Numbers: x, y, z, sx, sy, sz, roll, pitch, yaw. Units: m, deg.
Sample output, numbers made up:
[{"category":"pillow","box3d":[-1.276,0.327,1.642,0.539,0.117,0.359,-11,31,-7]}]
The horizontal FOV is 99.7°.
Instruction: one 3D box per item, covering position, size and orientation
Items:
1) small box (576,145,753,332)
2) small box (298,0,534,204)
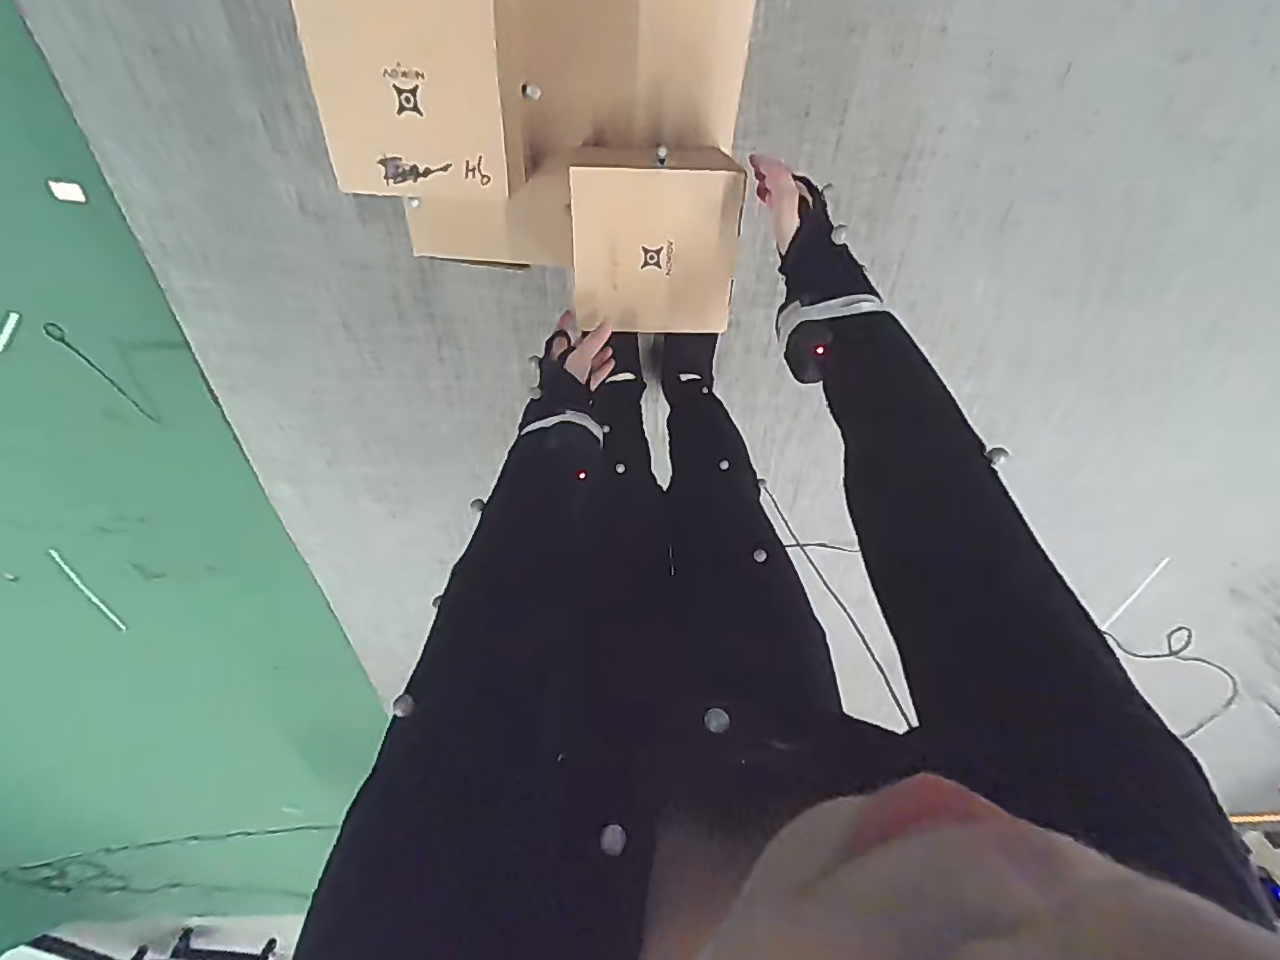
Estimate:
[{"category":"small box","box3d":[0.017,-0.284,0.630,0.179,0.176,0.168,0,127,-3]},{"category":"small box","box3d":[-0.202,-0.389,0.538,0.168,0.176,0.179,2,127,-3]}]
